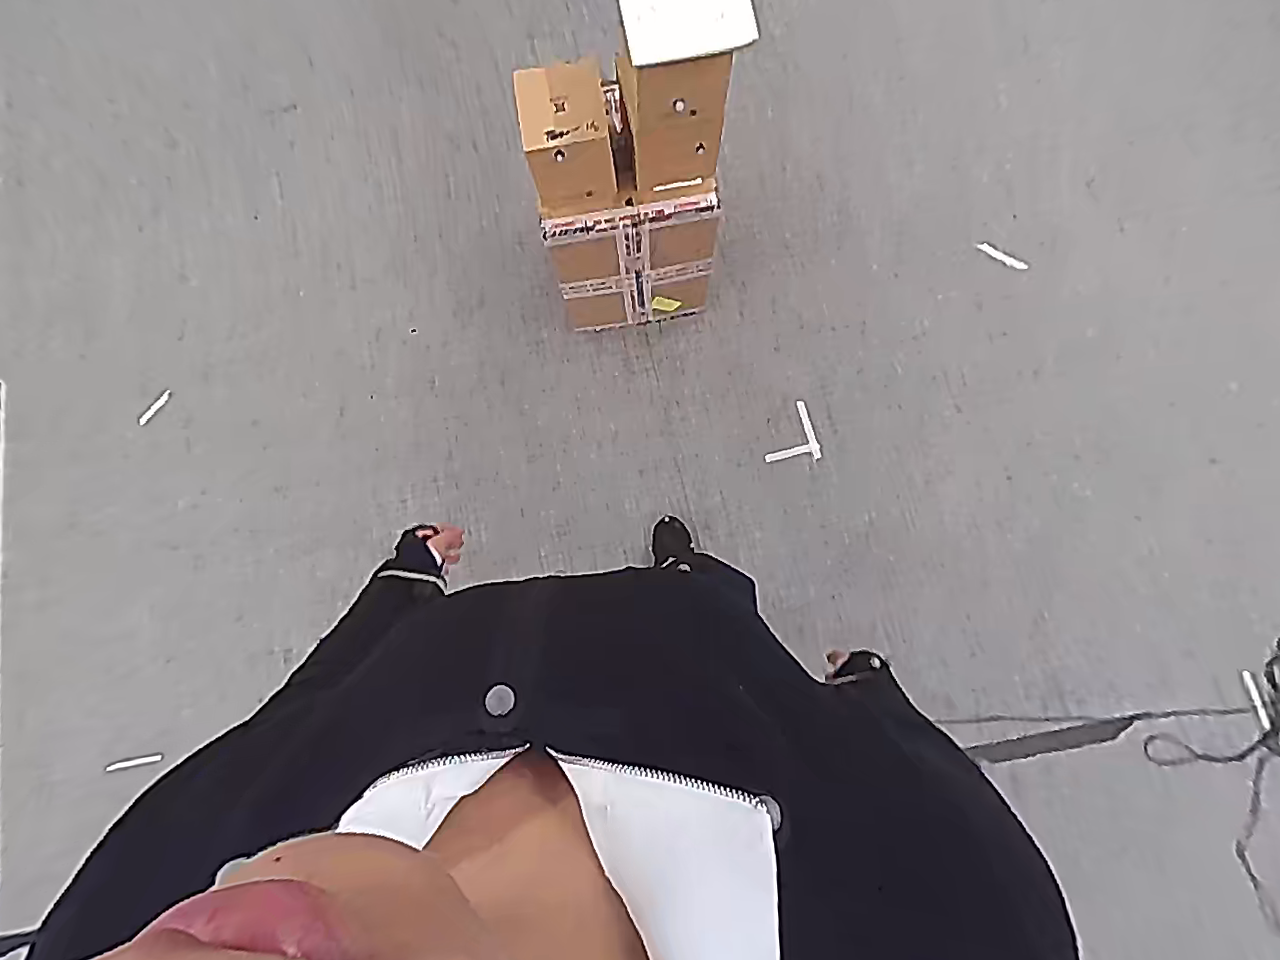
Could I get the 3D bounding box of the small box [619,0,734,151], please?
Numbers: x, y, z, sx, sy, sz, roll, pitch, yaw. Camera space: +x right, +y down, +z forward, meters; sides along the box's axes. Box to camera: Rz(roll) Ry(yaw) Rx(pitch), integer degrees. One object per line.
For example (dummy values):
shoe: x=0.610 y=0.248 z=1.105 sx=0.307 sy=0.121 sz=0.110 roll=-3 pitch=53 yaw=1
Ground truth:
small box: x=0.056 y=-0.721 z=0.946 sx=0.168 sy=0.176 sz=0.179 roll=-10 pitch=81 yaw=-1
